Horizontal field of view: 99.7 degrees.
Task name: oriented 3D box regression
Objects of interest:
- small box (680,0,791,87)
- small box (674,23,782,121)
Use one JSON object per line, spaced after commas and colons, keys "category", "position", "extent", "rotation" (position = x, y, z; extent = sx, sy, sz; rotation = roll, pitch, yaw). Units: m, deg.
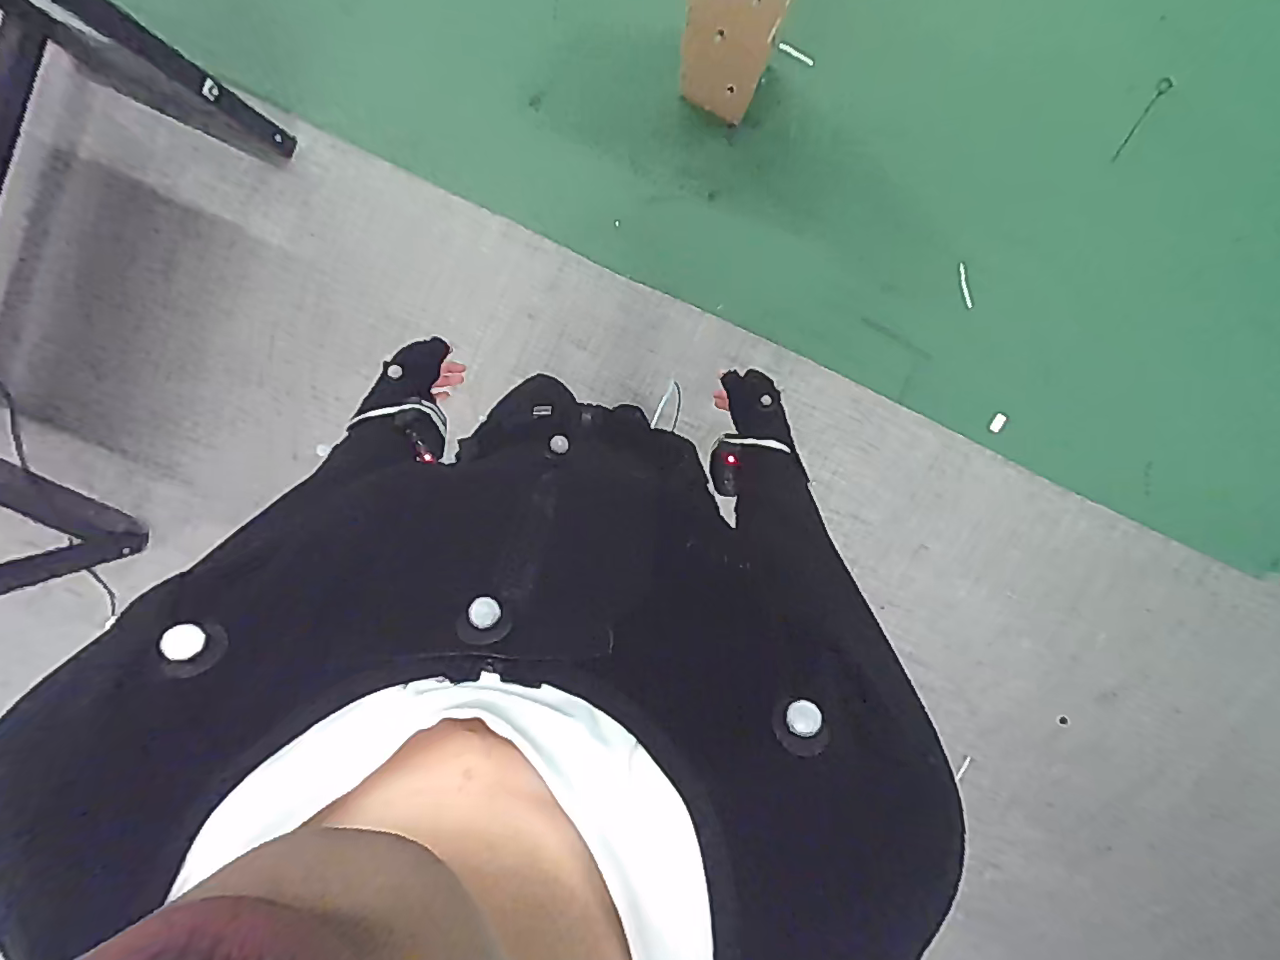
{"category": "small box", "position": [0.196, -0.945, 1.092], "extent": [0.179, 0.176, 0.168], "rotation": [27, 98, -4]}
{"category": "small box", "position": [0.195, -0.976, 1.252], "extent": [0.179, 0.176, 0.168], "rotation": [26, 97, -5]}
